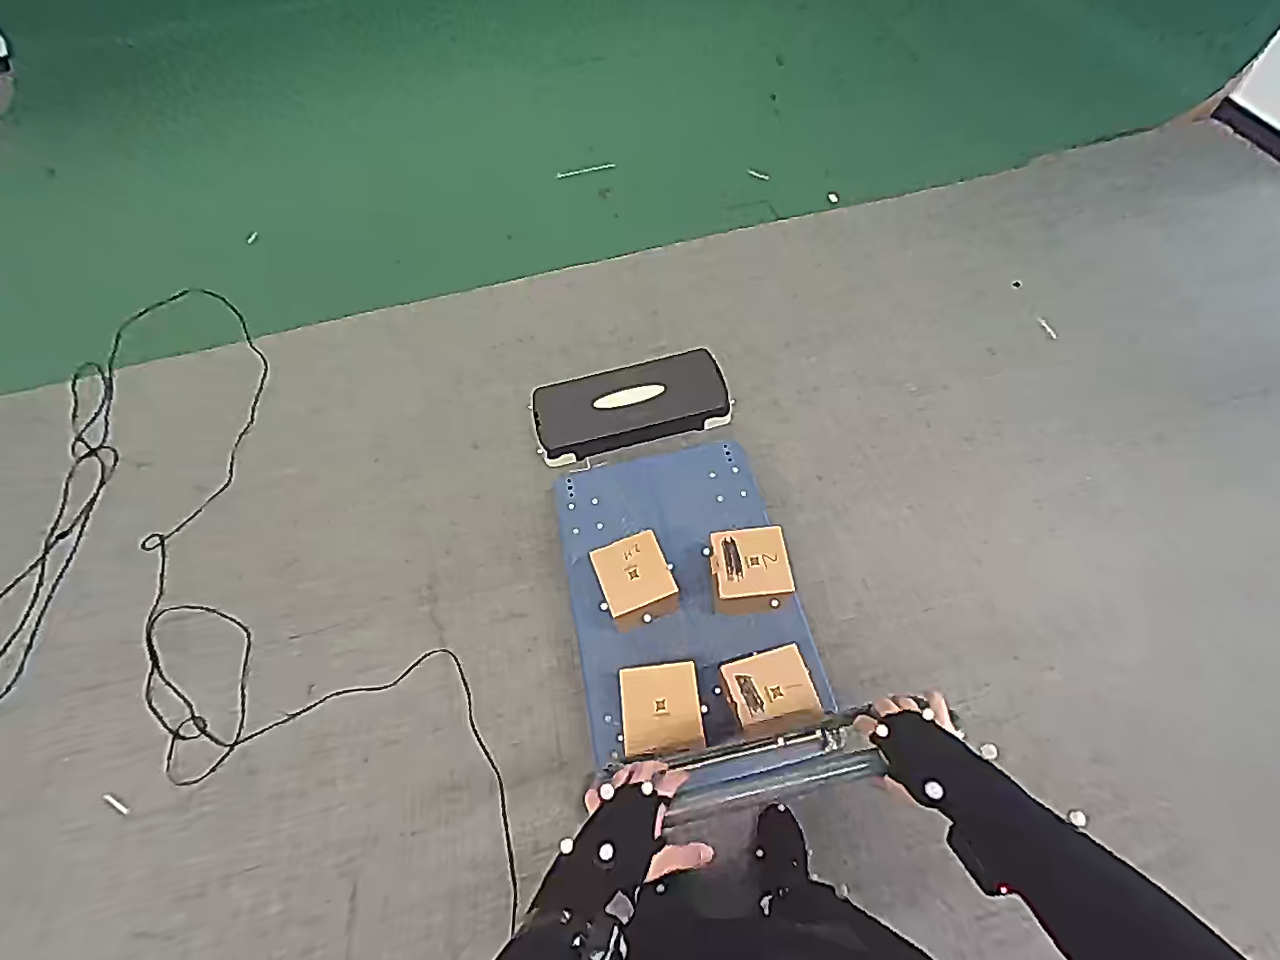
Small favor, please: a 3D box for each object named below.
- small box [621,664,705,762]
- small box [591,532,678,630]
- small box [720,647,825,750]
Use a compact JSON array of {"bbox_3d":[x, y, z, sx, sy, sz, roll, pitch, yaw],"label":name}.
[{"bbox_3d":[0.047,0.522,1.203,0.168,0.176,0.179,-6,62,0],"label":"small box"},{"bbox_3d":[-0.011,0.261,1.350,0.168,0.176,0.179,-20,62,-8],"label":"small box"},{"bbox_3d":[0.283,0.491,1.203,0.179,0.176,0.168,-15,62,-4],"label":"small box"}]
